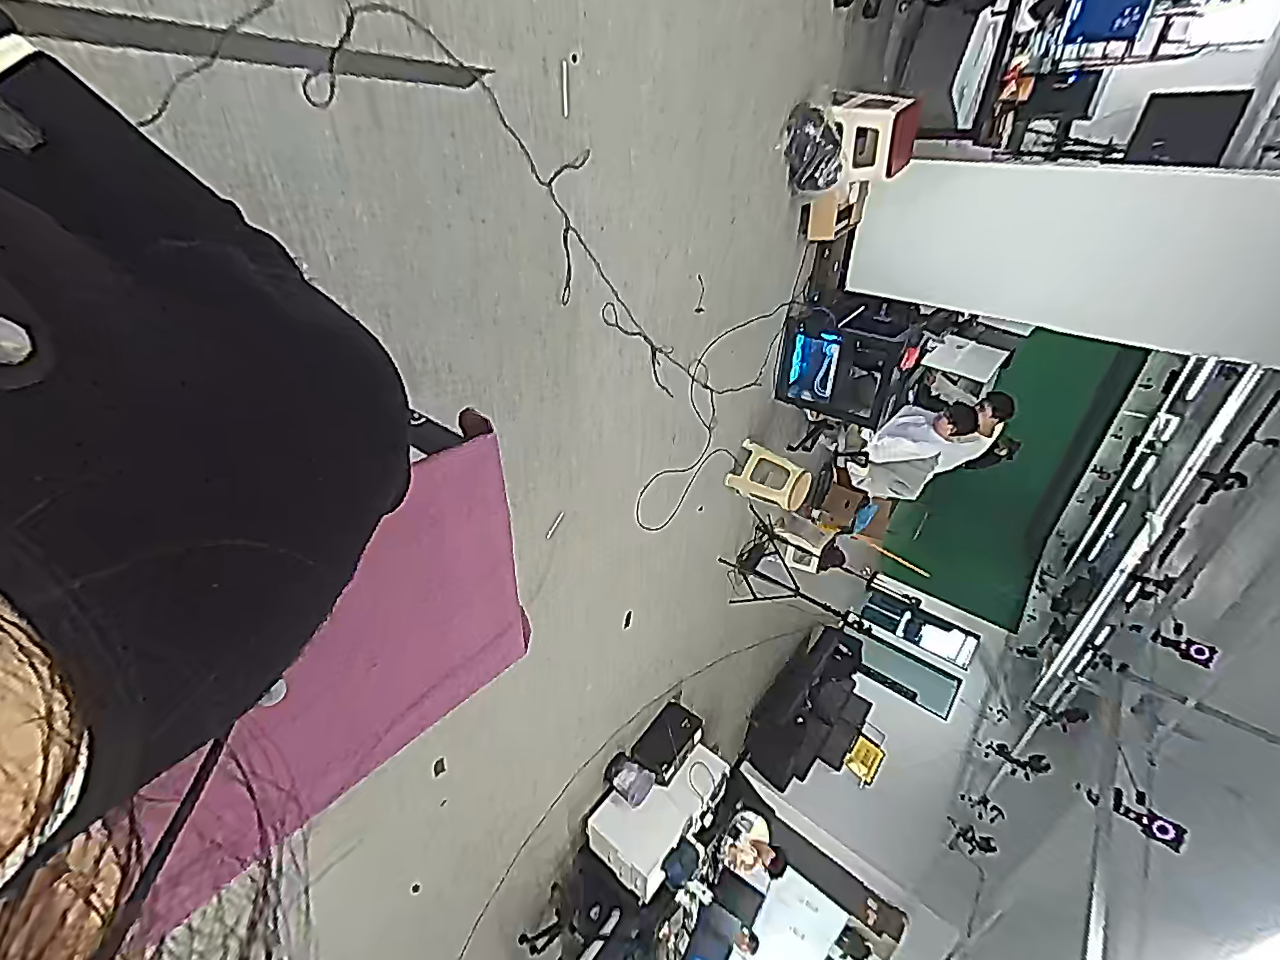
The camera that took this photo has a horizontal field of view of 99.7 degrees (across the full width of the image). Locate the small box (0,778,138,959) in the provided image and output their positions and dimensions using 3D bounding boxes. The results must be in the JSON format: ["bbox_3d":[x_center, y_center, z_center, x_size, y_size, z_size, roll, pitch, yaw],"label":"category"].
[{"bbox_3d":[-0.721,0.484,0.598,0.179,0.176,0.168,-33,137,-40],"label":"small box"}]
